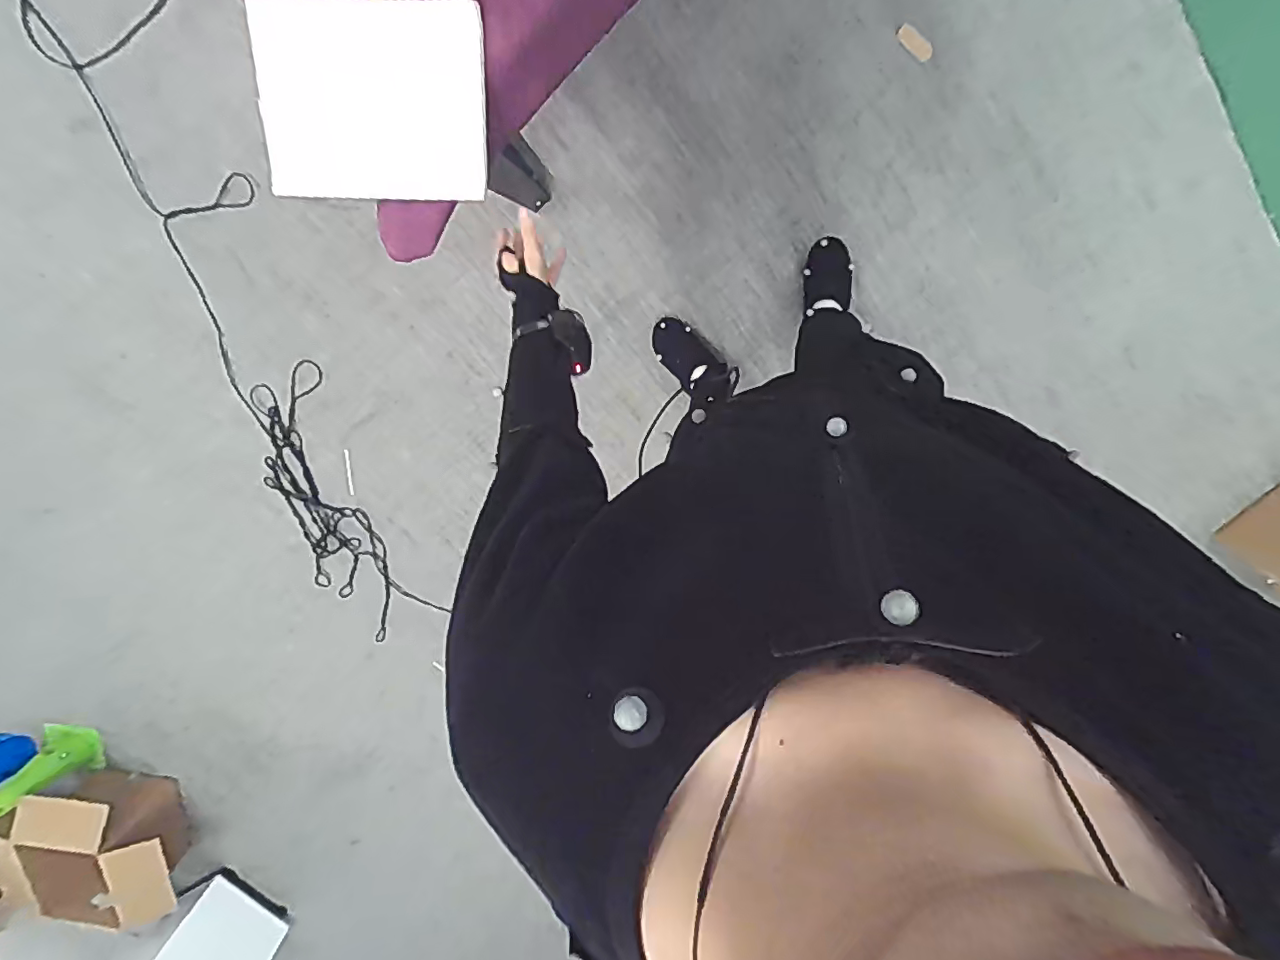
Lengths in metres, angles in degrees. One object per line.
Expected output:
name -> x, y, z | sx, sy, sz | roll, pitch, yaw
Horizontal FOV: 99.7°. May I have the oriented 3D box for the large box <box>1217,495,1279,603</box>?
large box -> 1.833, 0.174, 1.339 | 0.320, 0.320, 0.408 | 36, 107, -10
